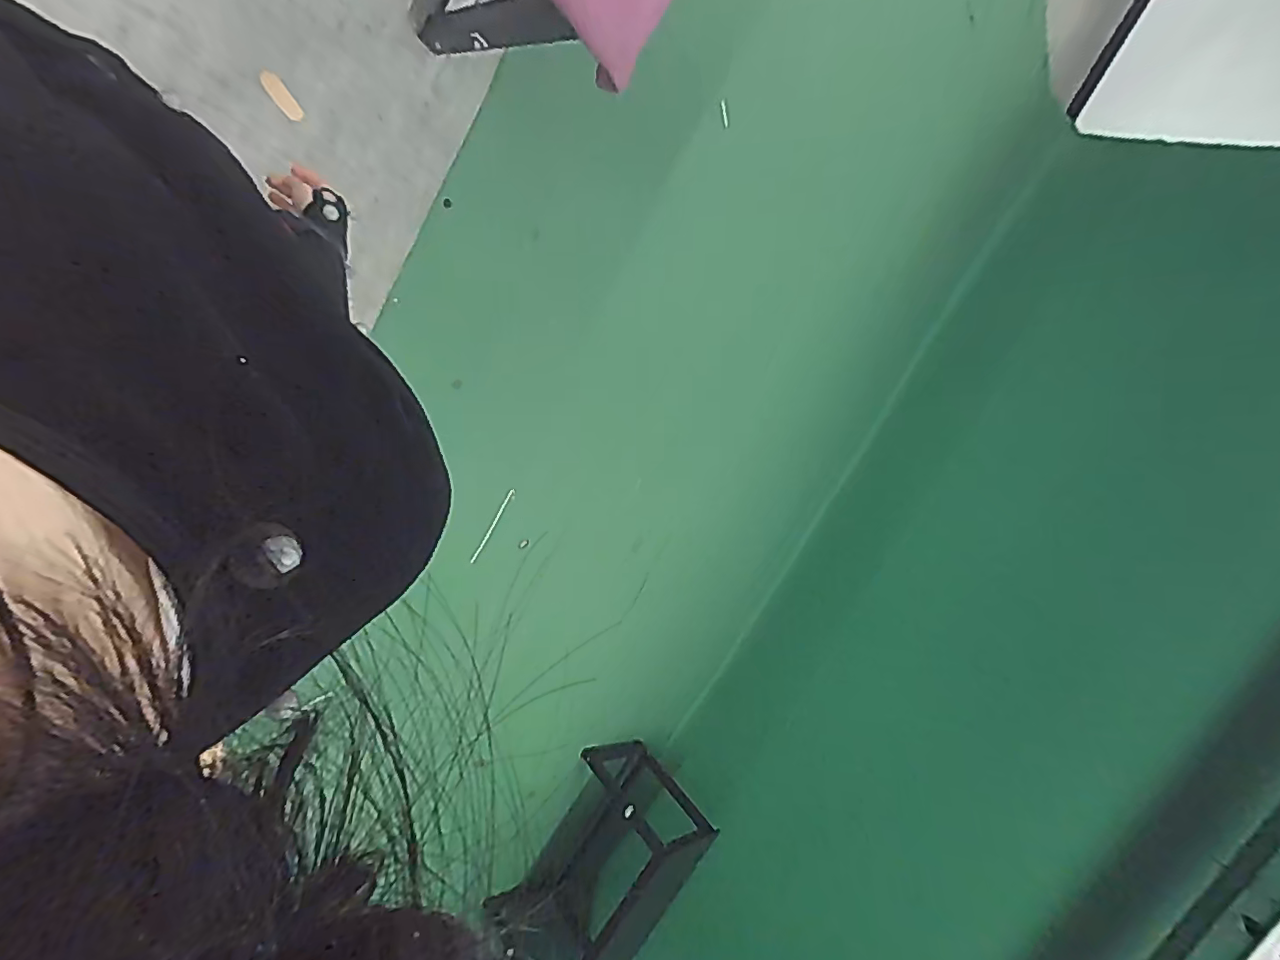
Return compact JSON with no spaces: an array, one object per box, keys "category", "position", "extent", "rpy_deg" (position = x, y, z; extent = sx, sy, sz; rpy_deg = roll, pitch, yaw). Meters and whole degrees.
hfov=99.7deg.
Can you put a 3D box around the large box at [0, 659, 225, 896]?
[{"category":"large box","position":[-1.324,0.706,1.350],"extent":[0.408,0.320,0.320],"rpy_deg":[1,118,-46]}]
